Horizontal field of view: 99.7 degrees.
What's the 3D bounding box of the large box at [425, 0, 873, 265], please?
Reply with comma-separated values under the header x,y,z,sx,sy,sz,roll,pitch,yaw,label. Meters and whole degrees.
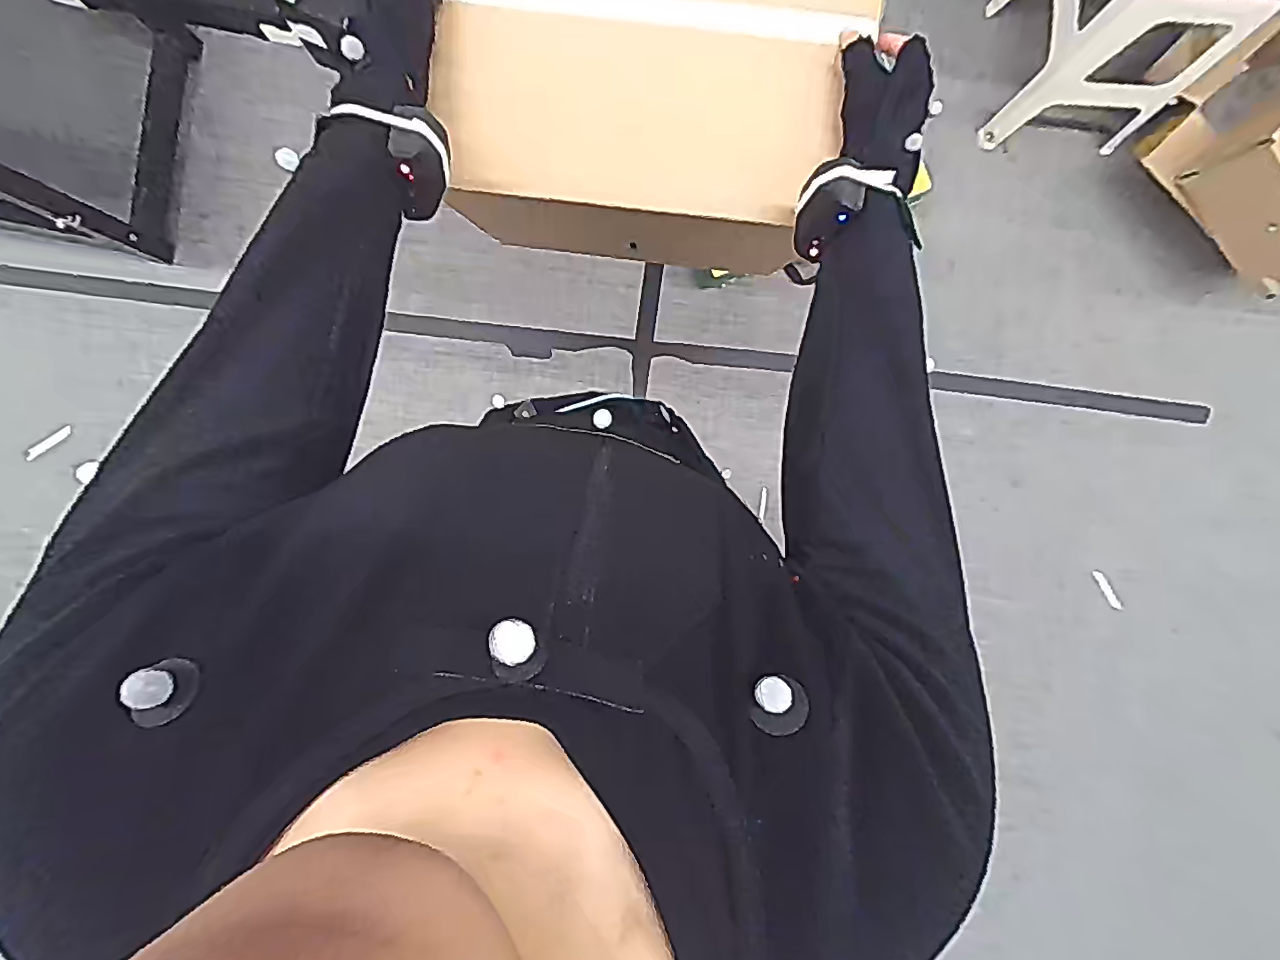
x,y,z,sx,sy,sz,roll,pitch,yaw,label
0.011,-0.447,0.628,0.408,0.320,0.320,6,103,0,large box
